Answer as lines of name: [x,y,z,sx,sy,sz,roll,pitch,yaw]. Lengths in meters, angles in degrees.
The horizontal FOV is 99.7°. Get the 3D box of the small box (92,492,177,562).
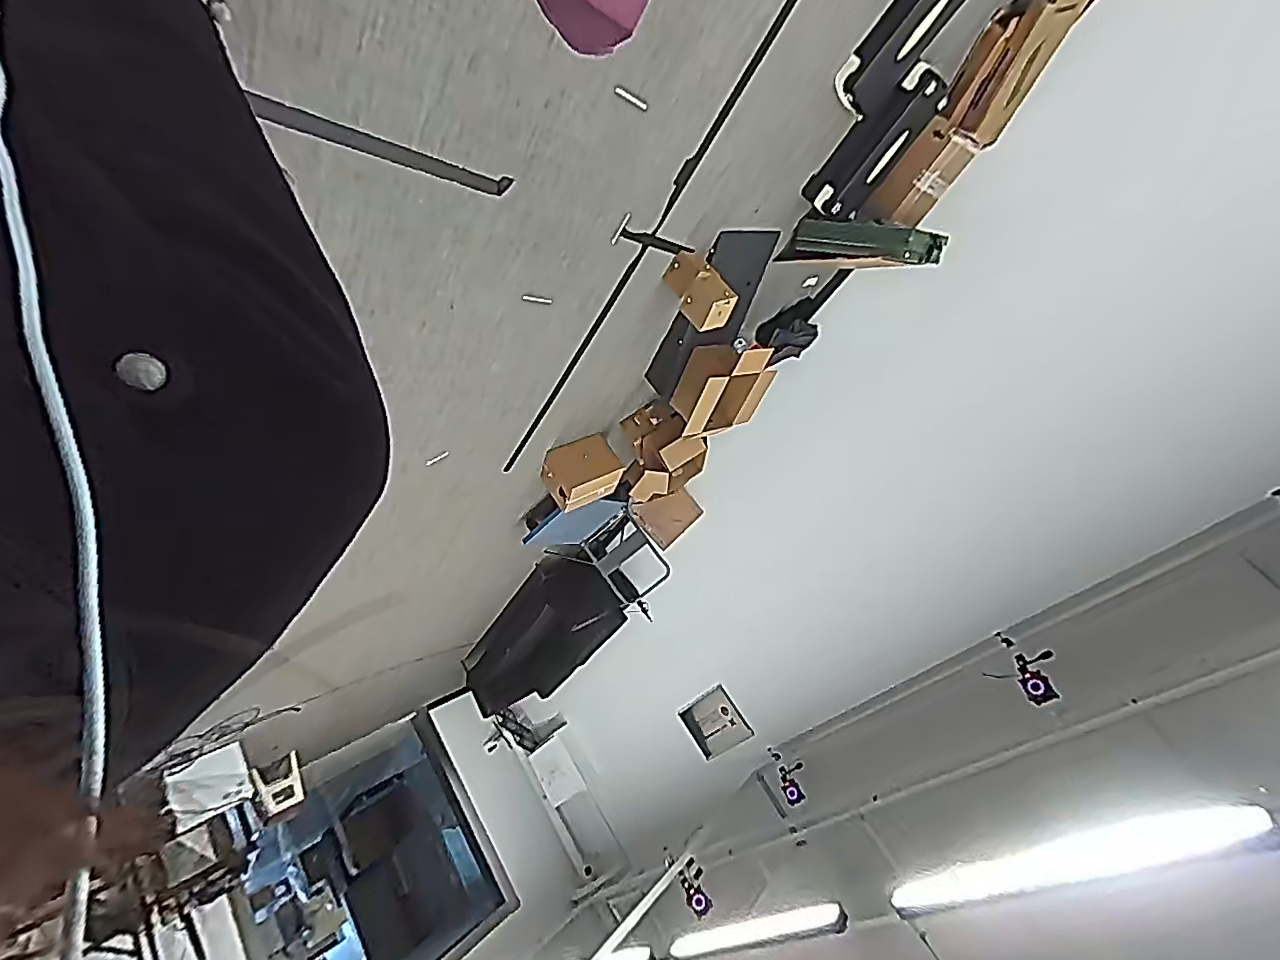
small box: [-1.759,0.157,1.876,0.168,0.176,0.179,-47,160,28]
